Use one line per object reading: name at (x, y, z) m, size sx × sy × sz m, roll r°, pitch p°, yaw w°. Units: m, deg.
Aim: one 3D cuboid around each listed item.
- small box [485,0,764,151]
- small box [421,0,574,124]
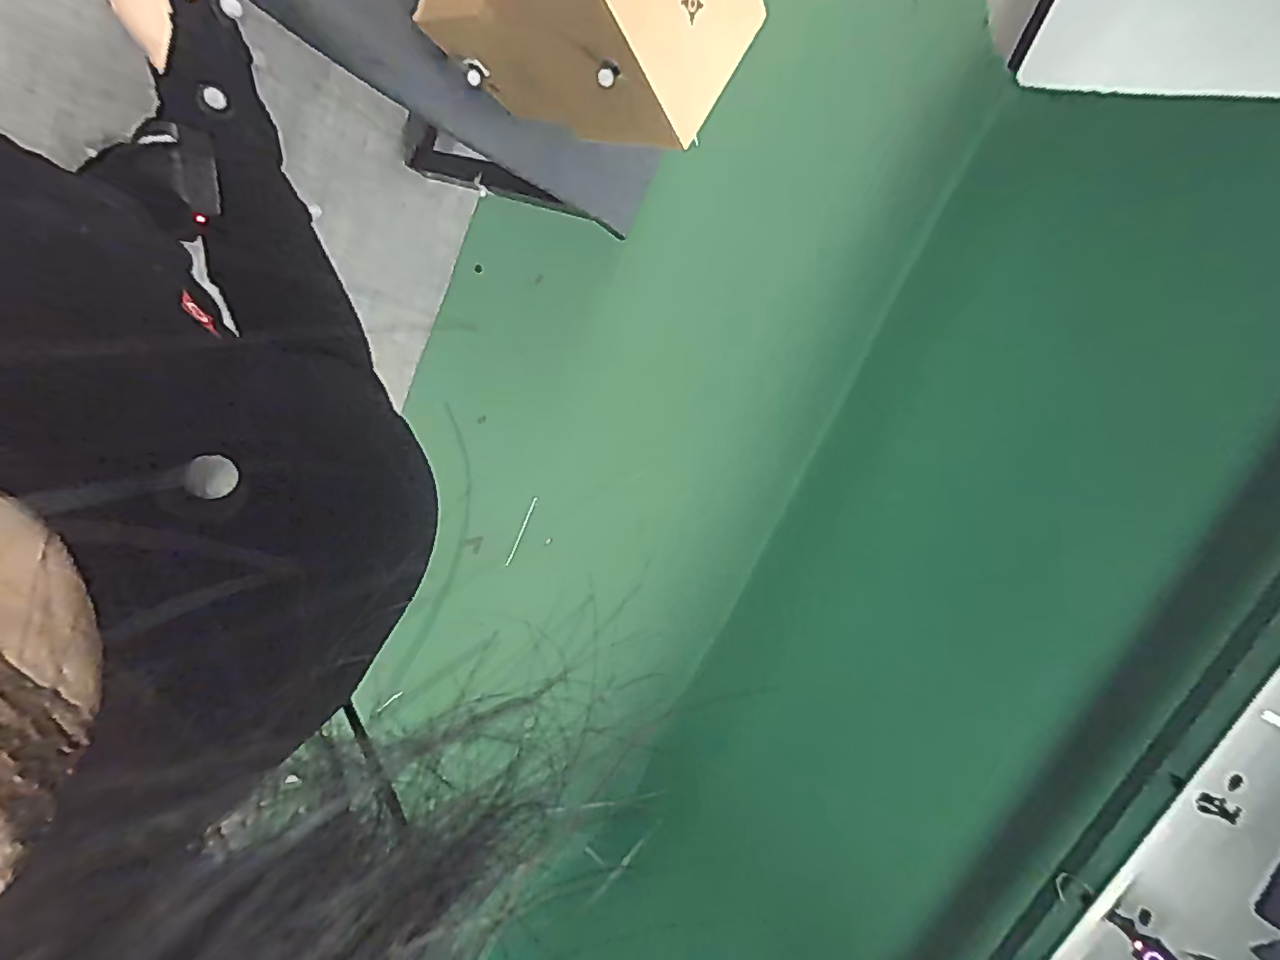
small box at (-0.013, -0.465, 0.529) m, size 0.168 × 0.176 × 0.179 m, roll -59°, pitch 144°, yaw 0°
small box at (-0.121, -0.548, 0.619) m, size 0.168 × 0.176 × 0.179 m, roll 13°, pitch 105°, yaw -53°
